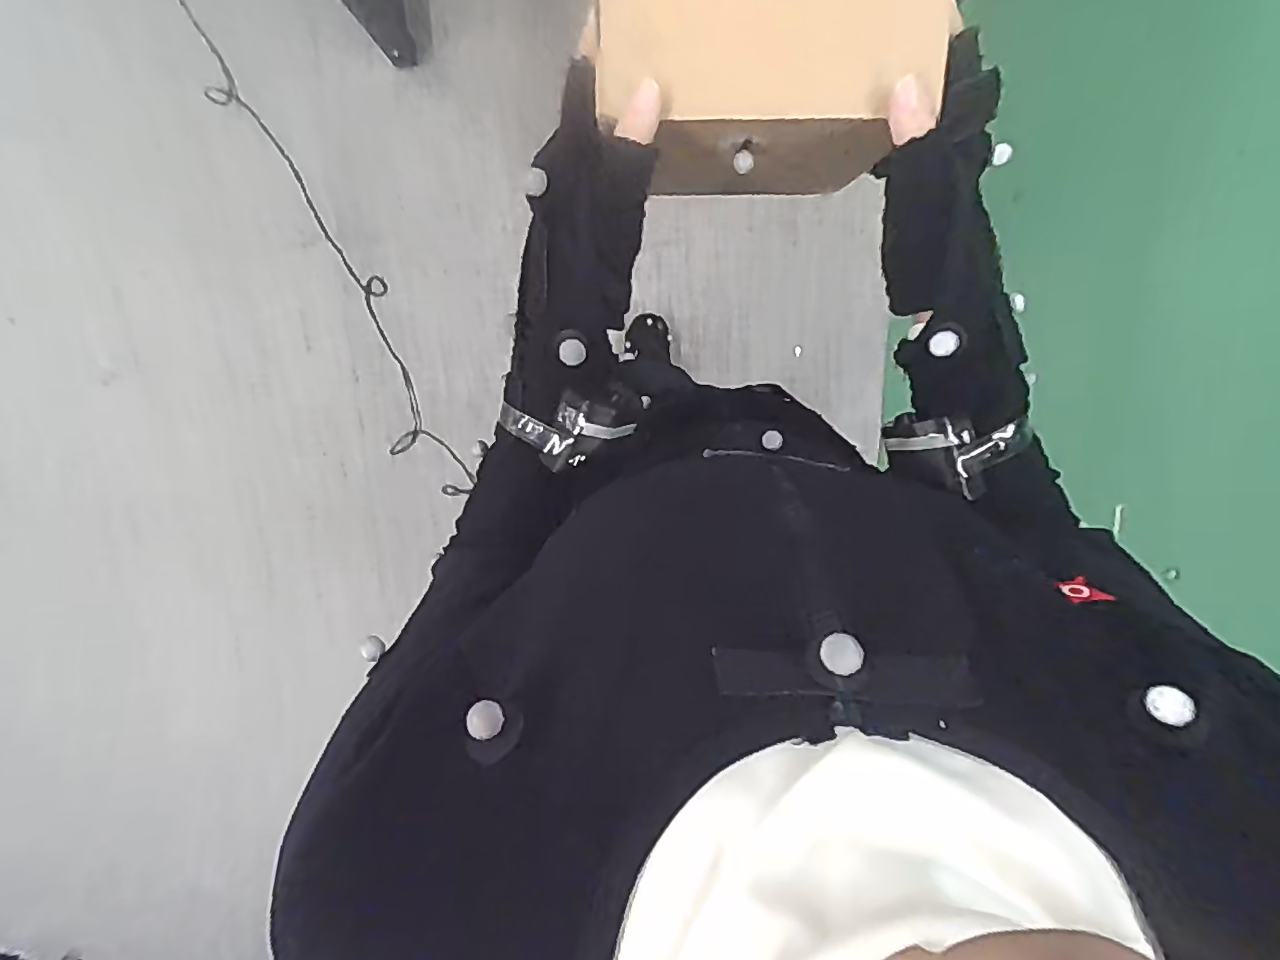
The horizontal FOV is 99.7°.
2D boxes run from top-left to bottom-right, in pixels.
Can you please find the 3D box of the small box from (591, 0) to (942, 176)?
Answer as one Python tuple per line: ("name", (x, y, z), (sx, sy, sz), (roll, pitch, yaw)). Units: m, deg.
("small box", (0.064, -0.299, 0.334), (0.179, 0.176, 0.168), (0, 106, 0))
